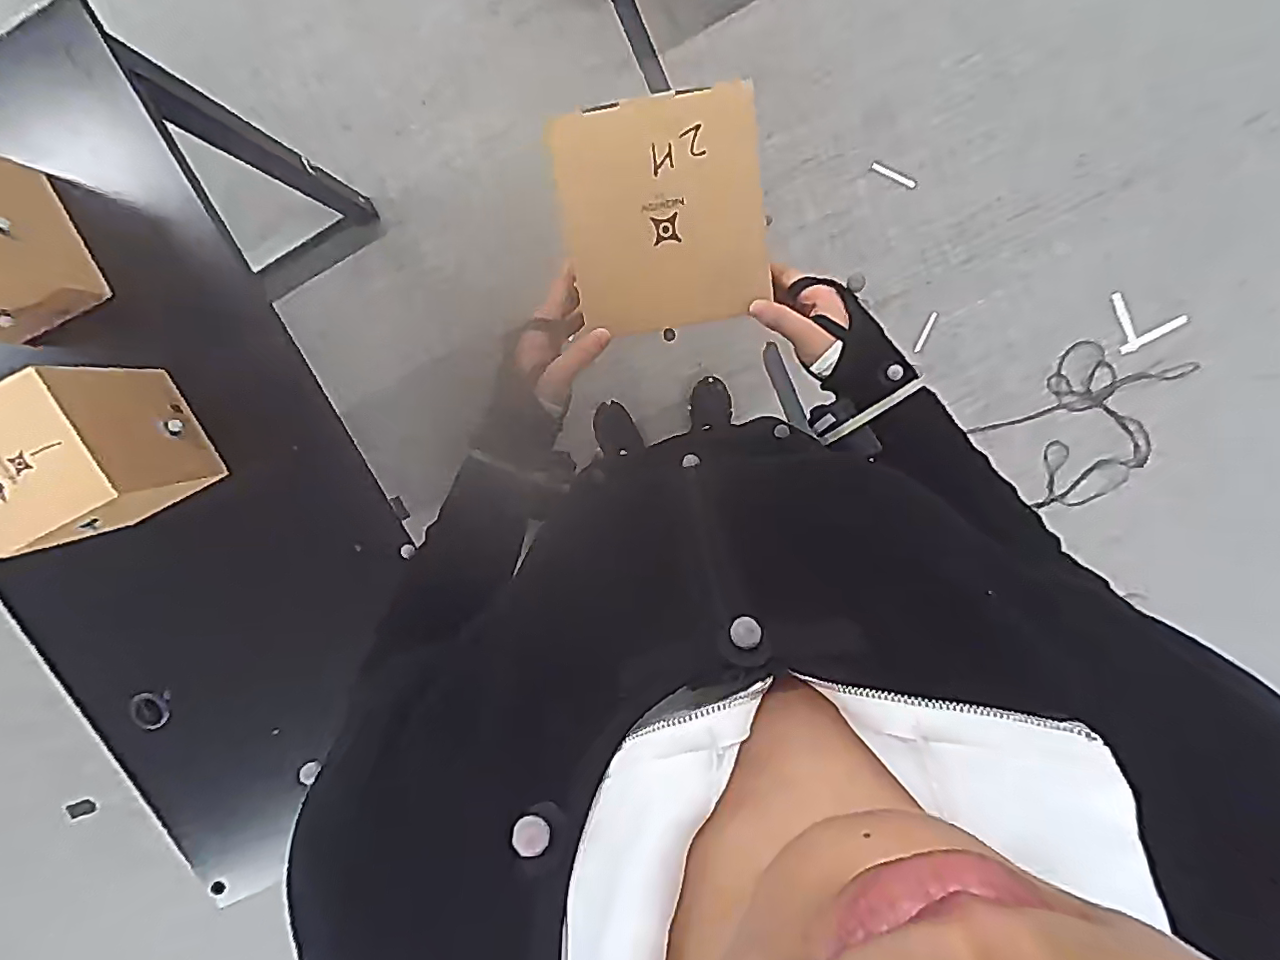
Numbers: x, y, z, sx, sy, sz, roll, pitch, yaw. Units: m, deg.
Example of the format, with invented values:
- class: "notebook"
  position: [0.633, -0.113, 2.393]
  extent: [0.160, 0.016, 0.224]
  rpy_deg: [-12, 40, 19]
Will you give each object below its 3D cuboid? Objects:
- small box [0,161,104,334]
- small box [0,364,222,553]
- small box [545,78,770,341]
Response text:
- class: "small box"
  position: [-0.823, -0.284, 0.647]
  extent: [0.168, 0.176, 0.179]
  rpy_deg: [-23, 100, 6]
- class: "small box"
  position: [-0.702, -0.034, 0.690]
  extent: [0.179, 0.176, 0.168]
  rpy_deg: [-26, 99, 5]
- class: "small box"
  position: [0.019, -0.239, 0.519]
  extent: [0.168, 0.176, 0.179]
  rpy_deg: [-10, 107, 2]
